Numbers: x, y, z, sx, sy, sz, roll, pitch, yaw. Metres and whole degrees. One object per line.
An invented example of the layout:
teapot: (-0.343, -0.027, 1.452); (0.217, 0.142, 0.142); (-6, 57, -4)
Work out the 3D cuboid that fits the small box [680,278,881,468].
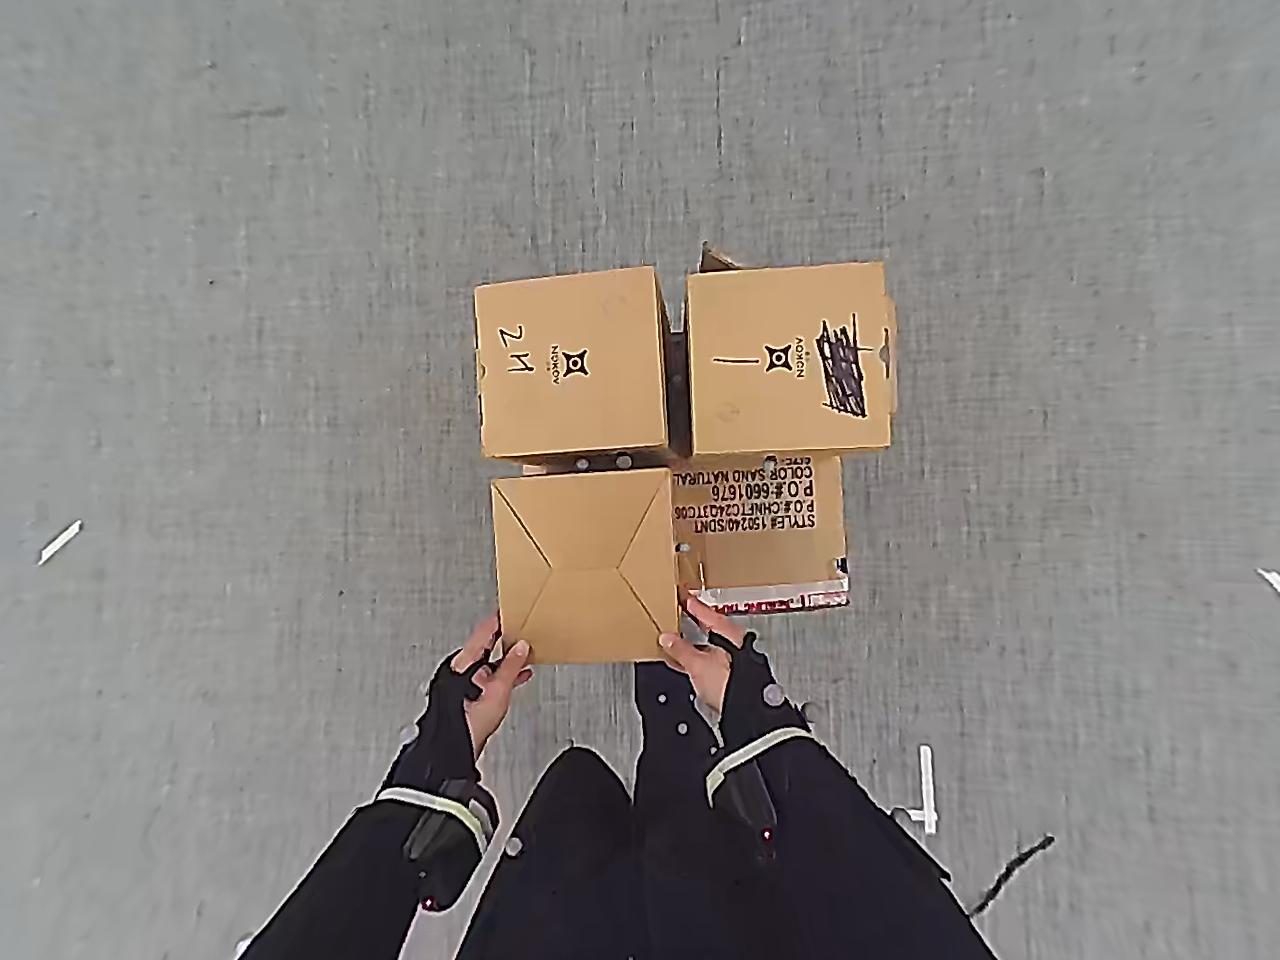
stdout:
small box: (0.133, -0.098, 0.570); (0.179, 0.176, 0.168); (-2, 89, 4)
